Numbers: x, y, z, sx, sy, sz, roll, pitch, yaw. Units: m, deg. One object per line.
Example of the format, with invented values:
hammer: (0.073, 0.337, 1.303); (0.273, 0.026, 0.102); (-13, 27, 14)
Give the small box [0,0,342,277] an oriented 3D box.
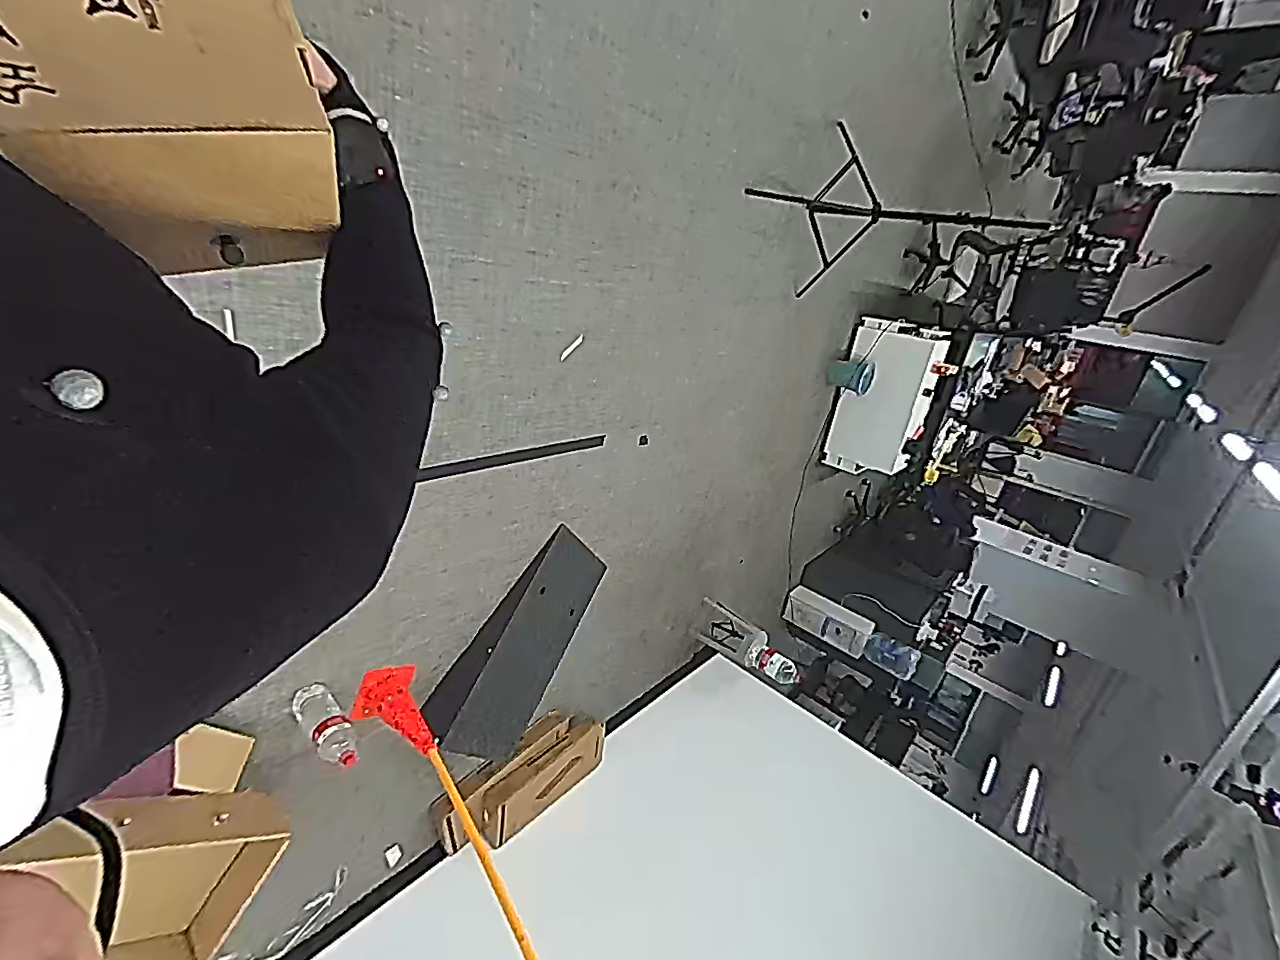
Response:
small box: (-0.349, -0.279, 0.415); (0.179, 0.176, 0.168); (-21, 90, -29)
